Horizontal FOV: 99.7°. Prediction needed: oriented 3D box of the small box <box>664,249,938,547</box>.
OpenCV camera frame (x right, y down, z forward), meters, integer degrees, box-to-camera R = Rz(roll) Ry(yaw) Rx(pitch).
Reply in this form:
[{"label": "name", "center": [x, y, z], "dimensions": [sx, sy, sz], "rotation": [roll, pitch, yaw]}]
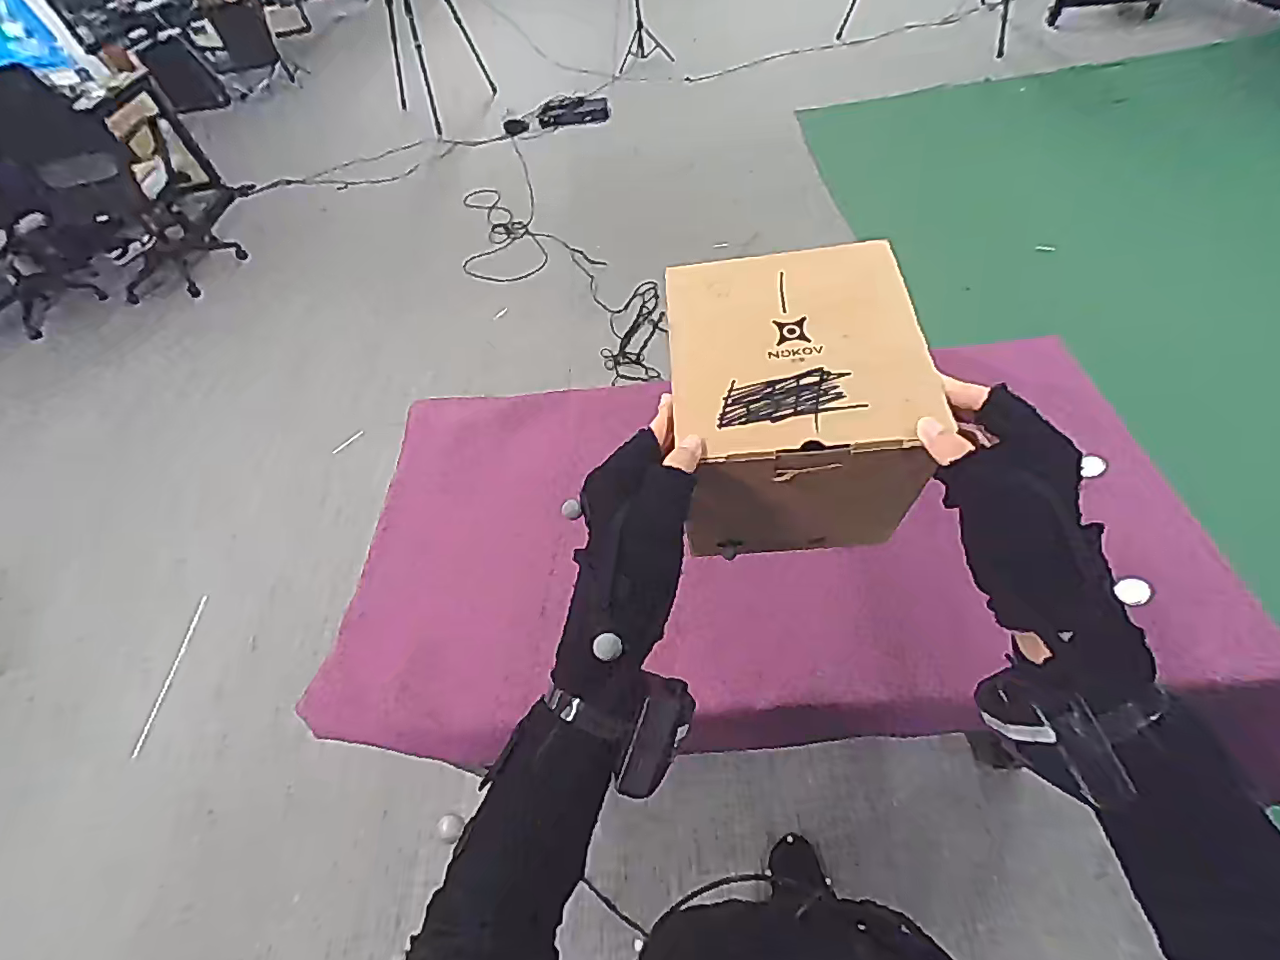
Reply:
[{"label": "small box", "center": [0.112, -0.052, 0.444], "dimensions": [0.168, 0.176, 0.179], "rotation": [-5, 60, 7]}]
